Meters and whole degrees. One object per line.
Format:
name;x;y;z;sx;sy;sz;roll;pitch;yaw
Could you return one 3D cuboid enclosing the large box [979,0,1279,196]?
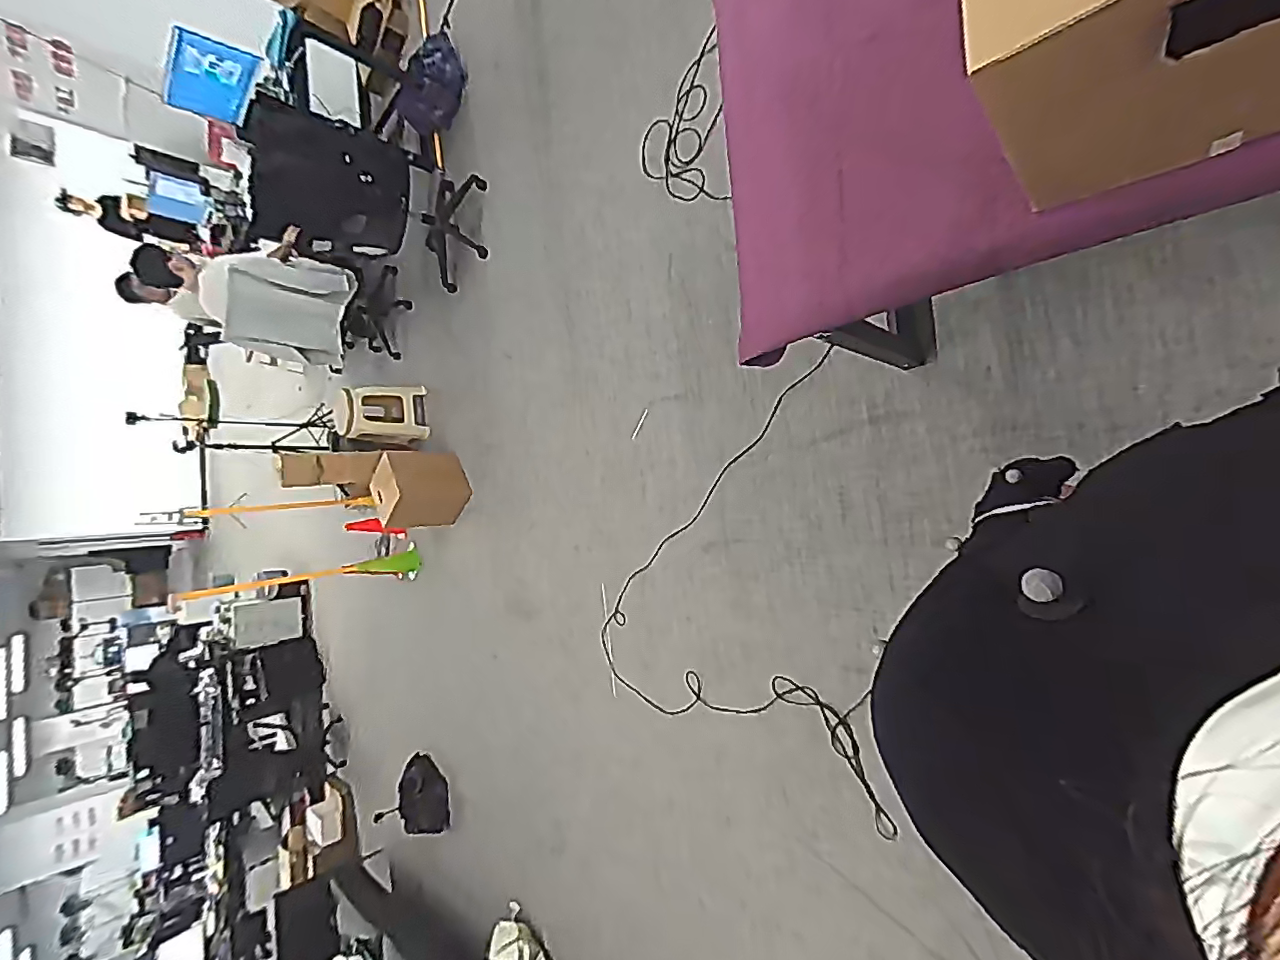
large box;0.474;-0.536;0.440;0.320;0.320;0.408;-5;88;44
